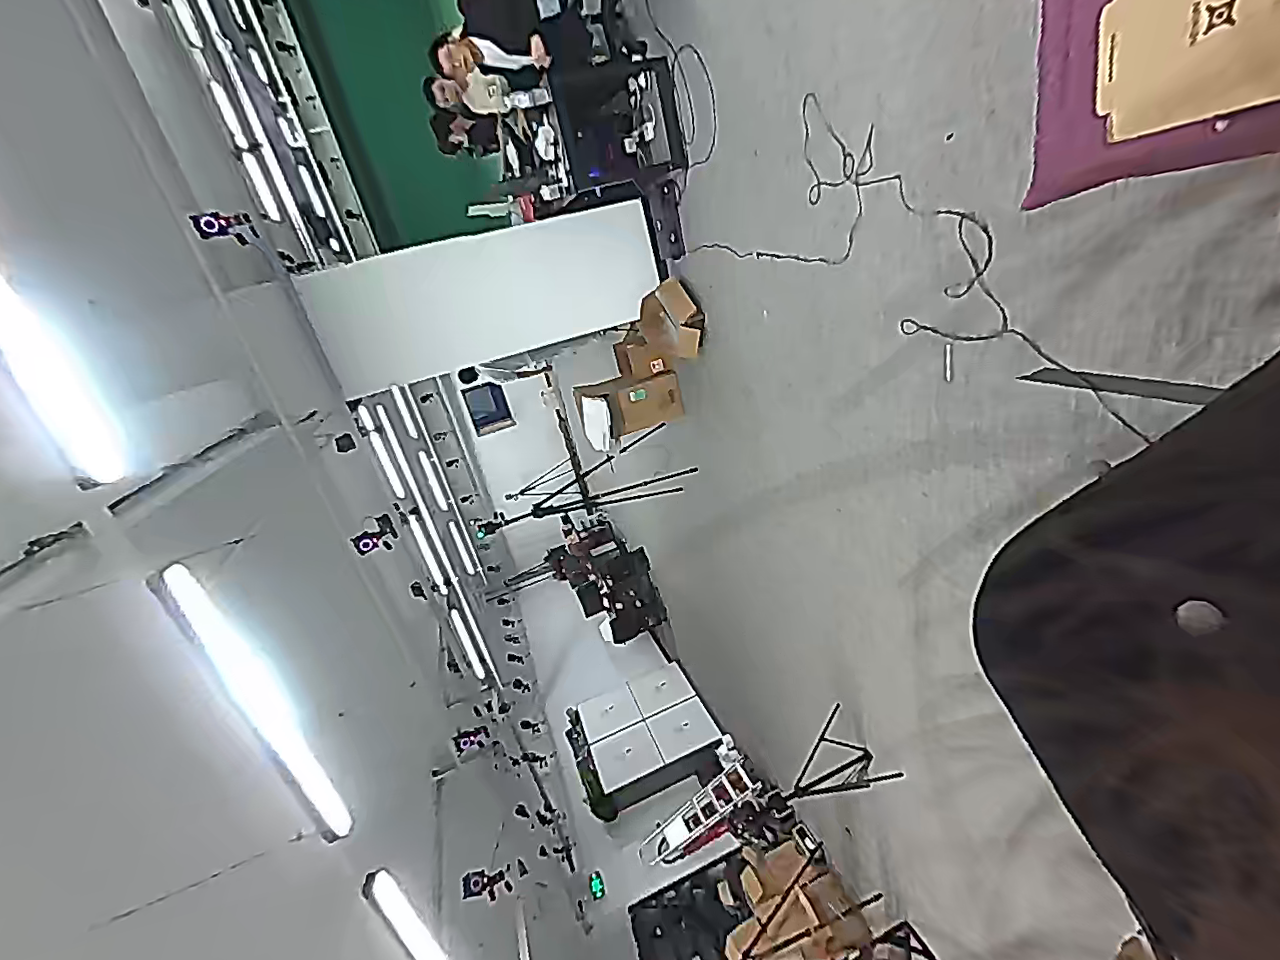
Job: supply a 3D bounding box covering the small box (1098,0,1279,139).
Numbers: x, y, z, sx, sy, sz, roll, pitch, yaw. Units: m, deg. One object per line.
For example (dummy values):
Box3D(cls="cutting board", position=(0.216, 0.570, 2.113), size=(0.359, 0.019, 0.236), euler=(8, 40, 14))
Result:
Box3D(cls="small box", position=(0.593, -0.452, 0.513), size=(0.179, 0.176, 0.168), euler=(-140, 32, -64))
